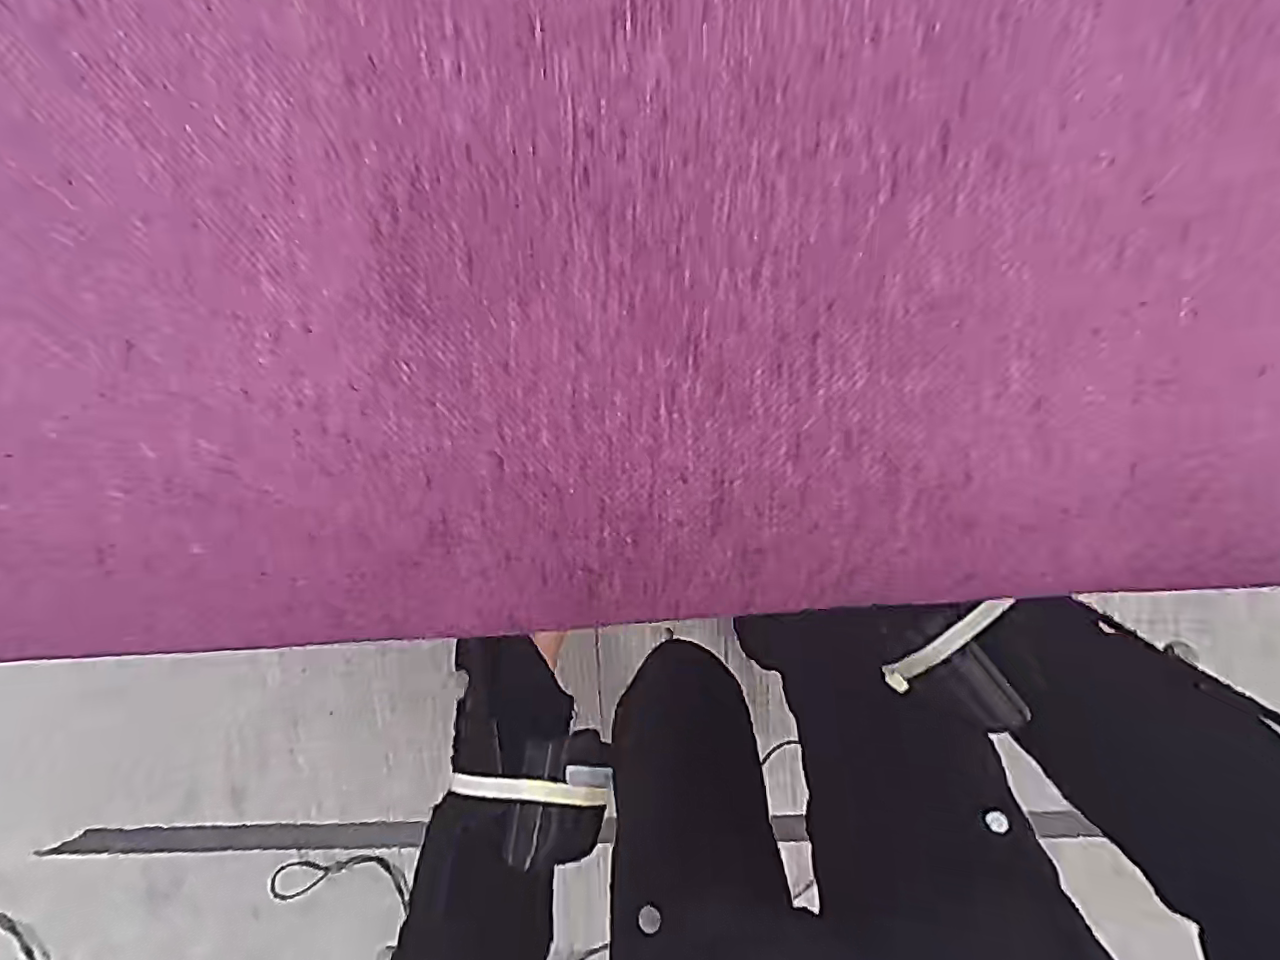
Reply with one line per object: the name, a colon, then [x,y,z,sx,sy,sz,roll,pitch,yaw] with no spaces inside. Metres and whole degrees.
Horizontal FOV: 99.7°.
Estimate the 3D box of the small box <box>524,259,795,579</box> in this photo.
small box: [0.017,-0.042,0.451,0.168,0.176,0.179,-17,58,3]
